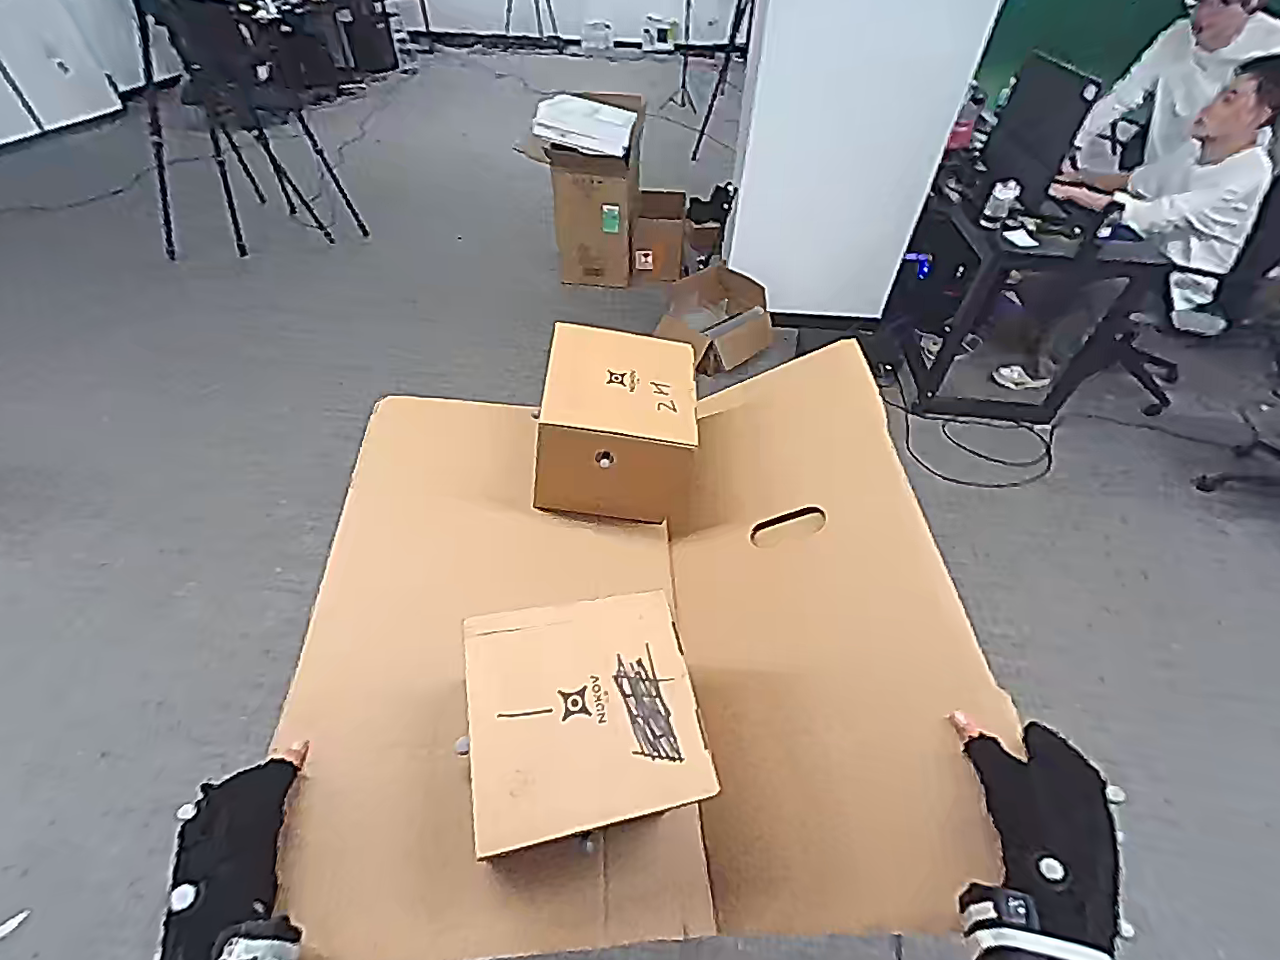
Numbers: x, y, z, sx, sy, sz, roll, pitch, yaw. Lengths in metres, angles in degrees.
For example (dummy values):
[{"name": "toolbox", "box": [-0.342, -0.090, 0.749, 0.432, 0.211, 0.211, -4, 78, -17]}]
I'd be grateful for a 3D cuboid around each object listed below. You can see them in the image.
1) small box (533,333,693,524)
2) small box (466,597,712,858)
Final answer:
[{"name": "small box", "box": [-0.038, -0.059, 0.697, 0.179, 0.176, 0.168, 9, 54, -9]}, {"name": "small box", "box": [-0.060, 0.223, 0.491, 0.179, 0.176, 0.168, -5, 57, -16]}]
